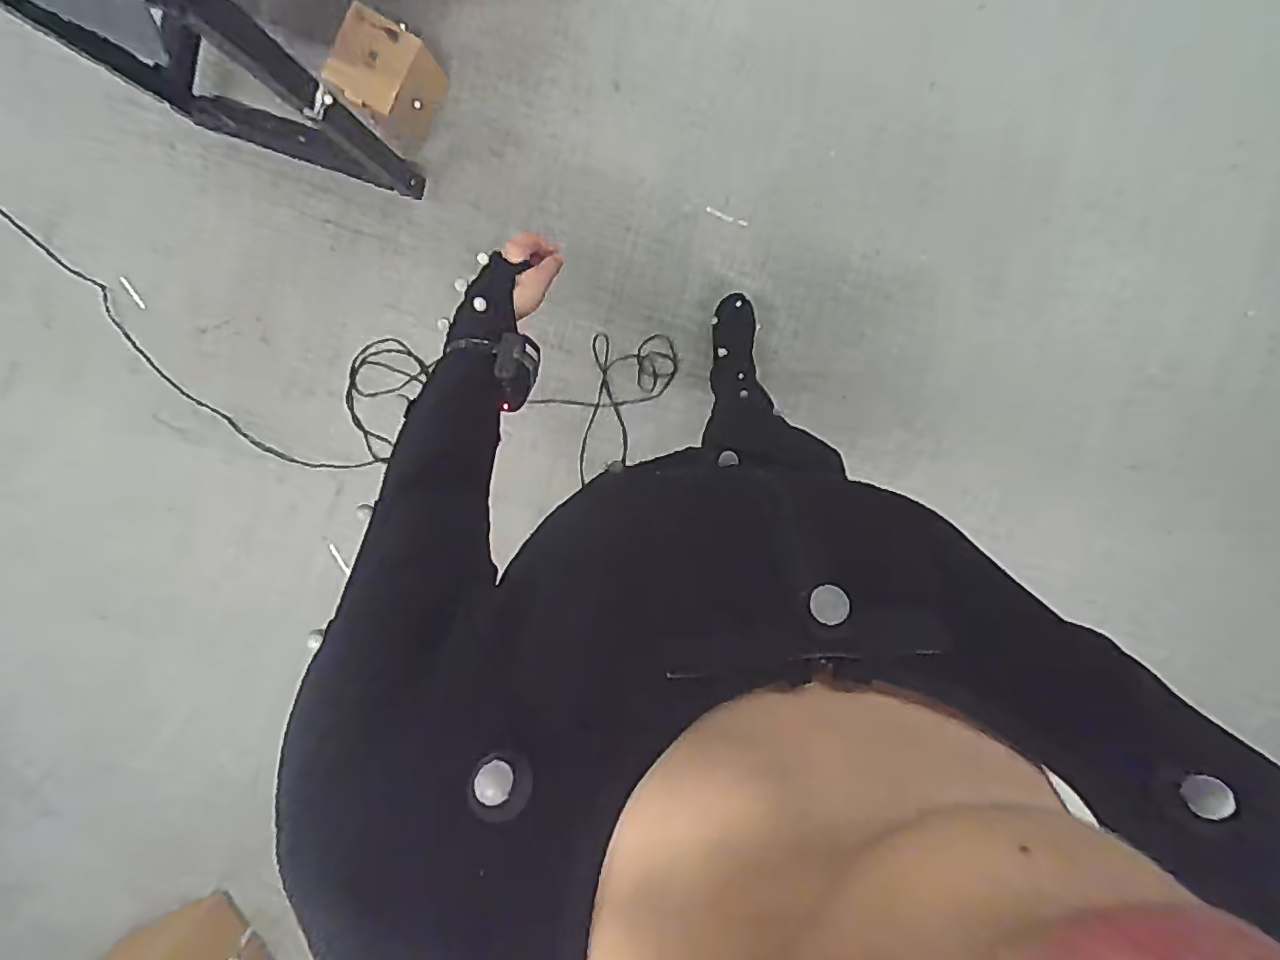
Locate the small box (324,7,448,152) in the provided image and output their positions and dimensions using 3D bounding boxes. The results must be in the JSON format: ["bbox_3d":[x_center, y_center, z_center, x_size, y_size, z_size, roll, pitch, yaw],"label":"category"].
[{"bbox_3d":[-0.572,-0.904,1.242,0.168,0.176,0.179,31,99,-4],"label":"small box"}]
